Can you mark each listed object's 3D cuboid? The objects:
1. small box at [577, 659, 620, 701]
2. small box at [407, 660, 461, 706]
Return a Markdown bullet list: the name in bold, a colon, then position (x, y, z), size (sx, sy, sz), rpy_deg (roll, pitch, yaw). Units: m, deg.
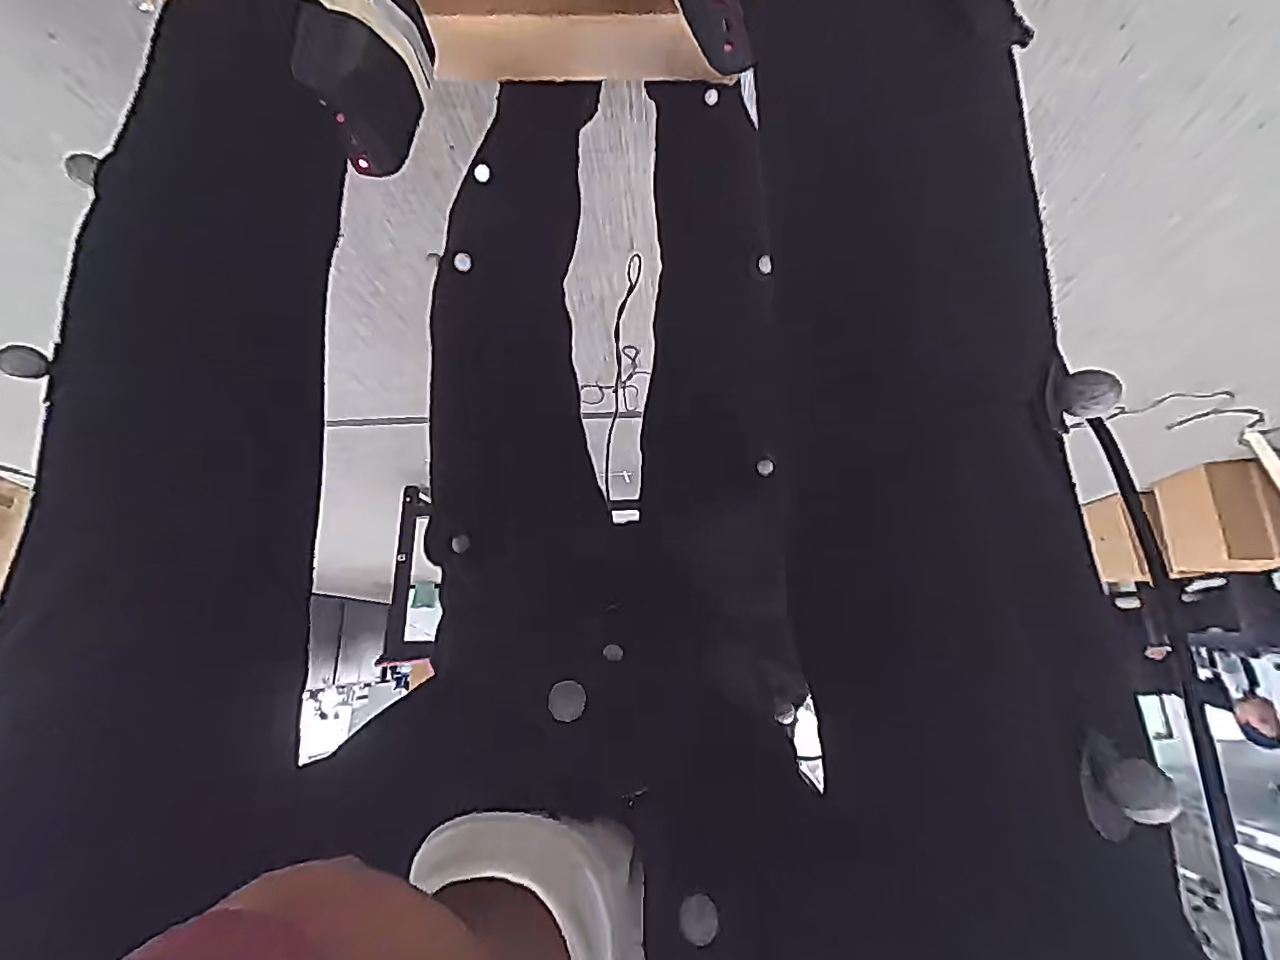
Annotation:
- **small box**: position (-0.191, 0.931, 2.523), size (0.179, 0.168, 0.176), rpy_deg (-8, 163, -2)
- **small box**: position (-0.877, 0.868, 2.317), size (0.179, 0.176, 0.168), rpy_deg (-1, 163, 1)
